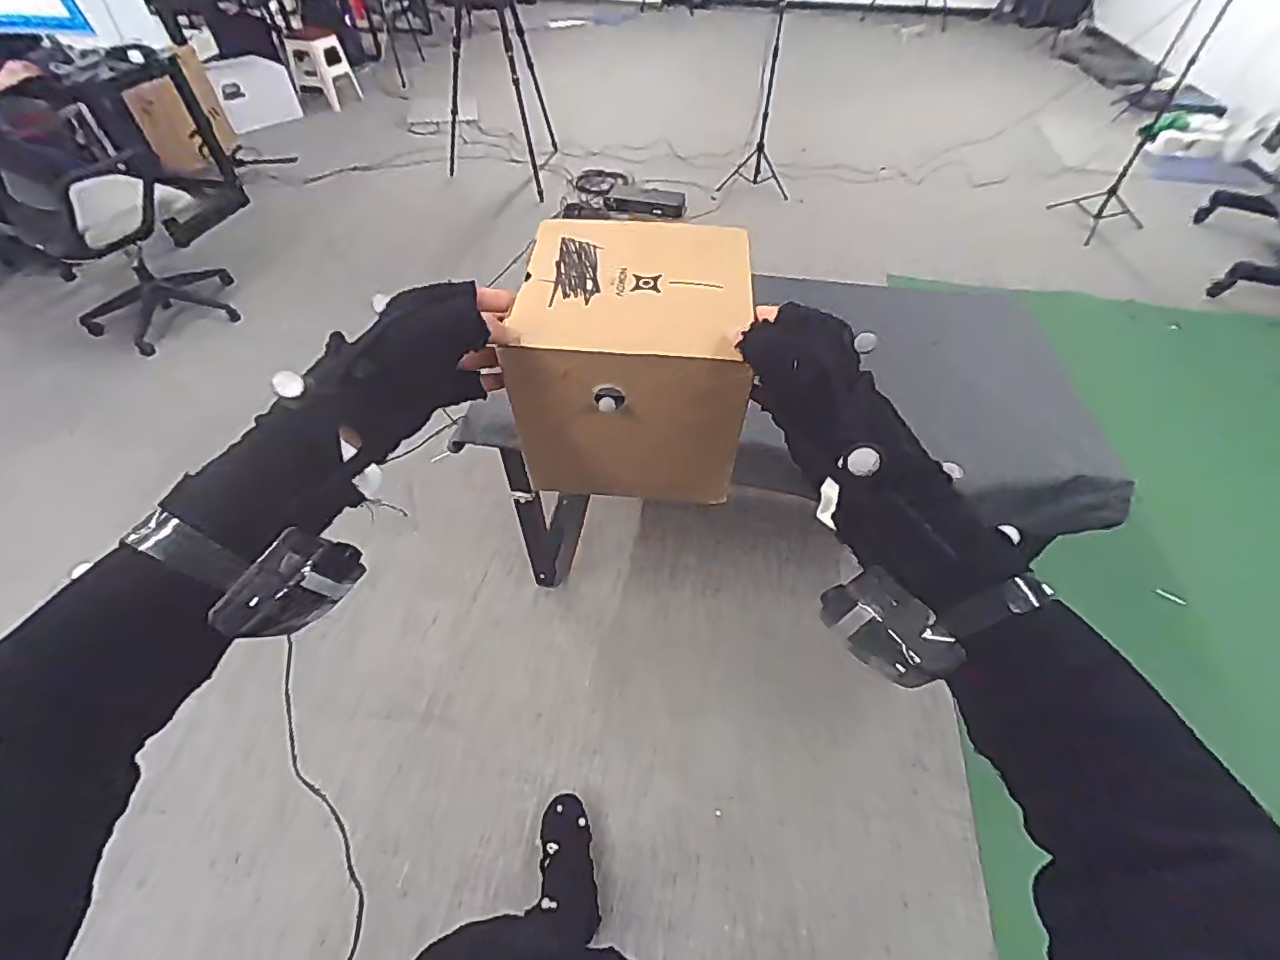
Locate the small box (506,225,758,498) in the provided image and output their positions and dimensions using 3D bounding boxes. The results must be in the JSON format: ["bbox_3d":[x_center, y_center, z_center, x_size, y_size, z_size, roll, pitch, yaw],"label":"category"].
[{"bbox_3d":[0.001,-0.099,0.476,0.179,0.176,0.168,5,54,3],"label":"small box"}]
